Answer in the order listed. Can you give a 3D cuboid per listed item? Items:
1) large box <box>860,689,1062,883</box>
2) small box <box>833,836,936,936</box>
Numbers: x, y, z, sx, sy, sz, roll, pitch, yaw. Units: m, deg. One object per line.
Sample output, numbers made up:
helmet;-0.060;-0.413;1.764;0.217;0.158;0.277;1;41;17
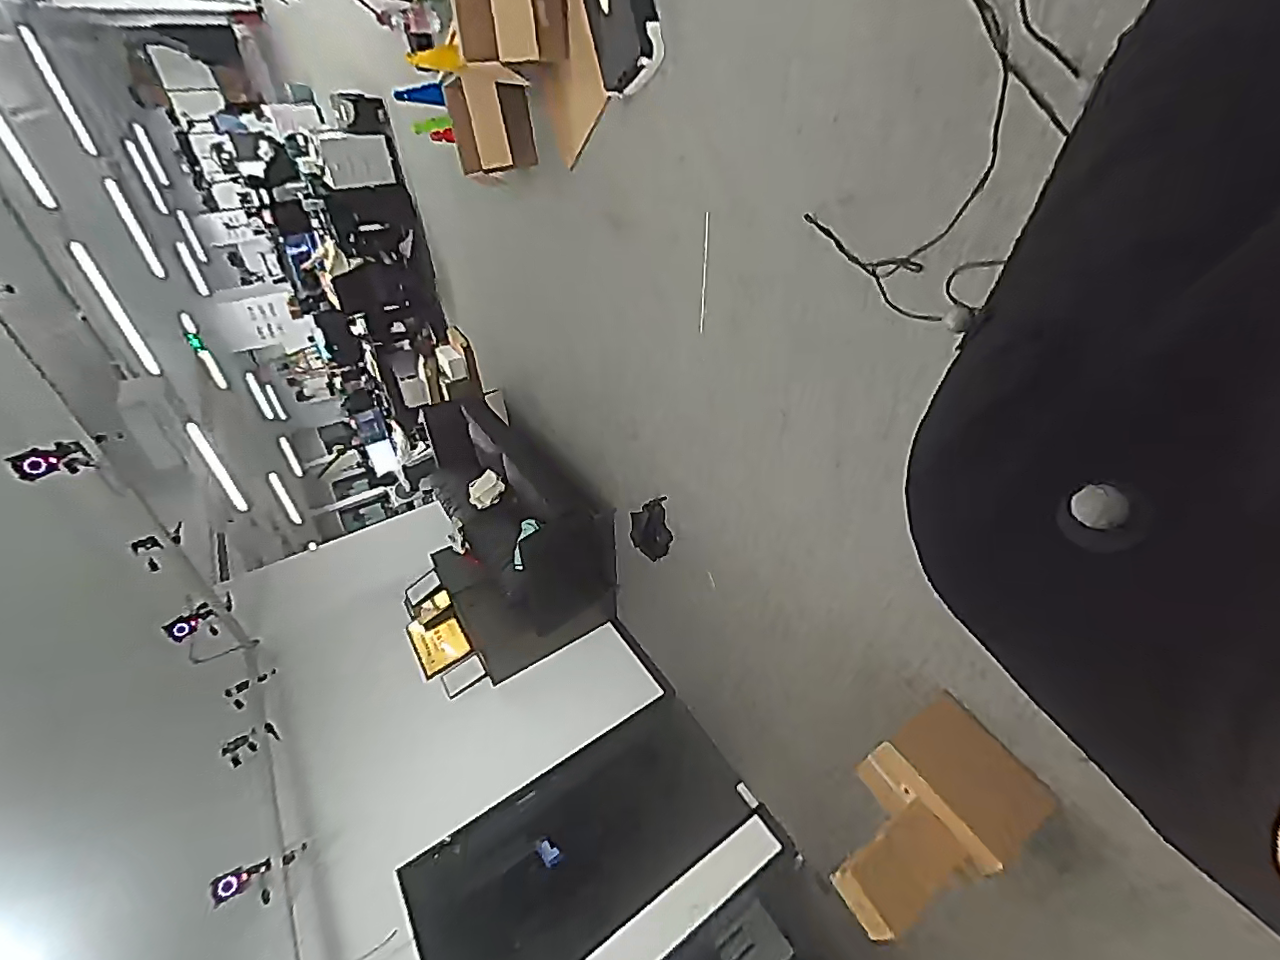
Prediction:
large box;1.015;0.976;1.750;0.408;0.320;0.320;49;149;36
small box;0.703;1.165;1.560;0.179;0.176;0.168;50;152;31
